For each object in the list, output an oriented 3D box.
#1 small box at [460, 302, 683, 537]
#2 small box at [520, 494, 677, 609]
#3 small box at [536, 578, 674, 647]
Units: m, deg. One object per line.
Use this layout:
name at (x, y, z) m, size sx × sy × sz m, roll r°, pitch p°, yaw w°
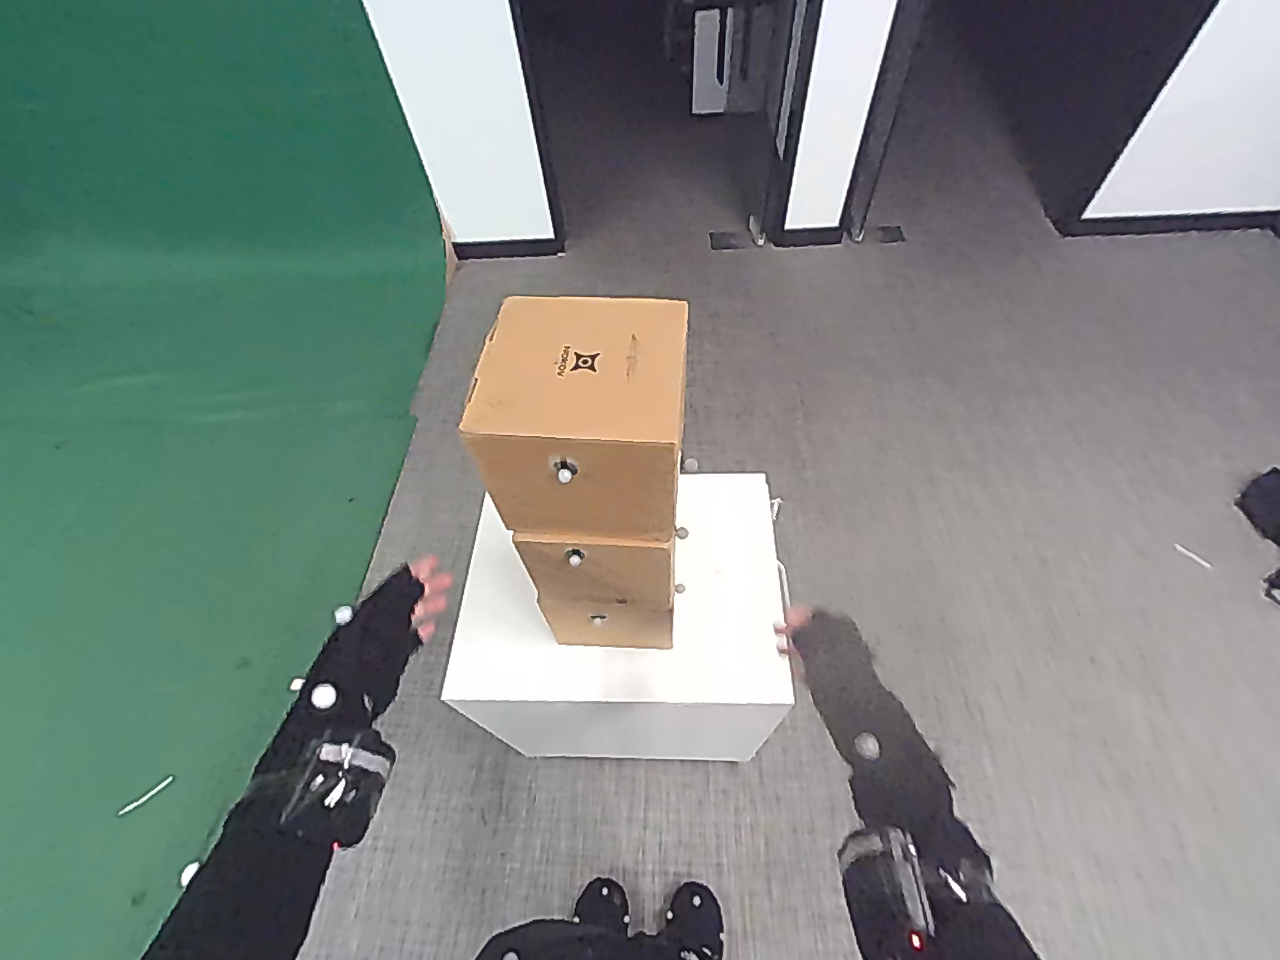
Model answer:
small box at (-0.049, -0.054, 0.538) m, size 0.179 × 0.176 × 0.168 m, roll 3°, pitch 57°, yaw 5°
small box at (-0.040, 0.044, 0.670) m, size 0.168 × 0.176 × 0.179 m, roll 1°, pitch 56°, yaw 2°
small box at (-0.039, 0.139, 0.800) m, size 0.179 × 0.176 × 0.168 m, roll 2°, pitch 55°, yaw 4°
